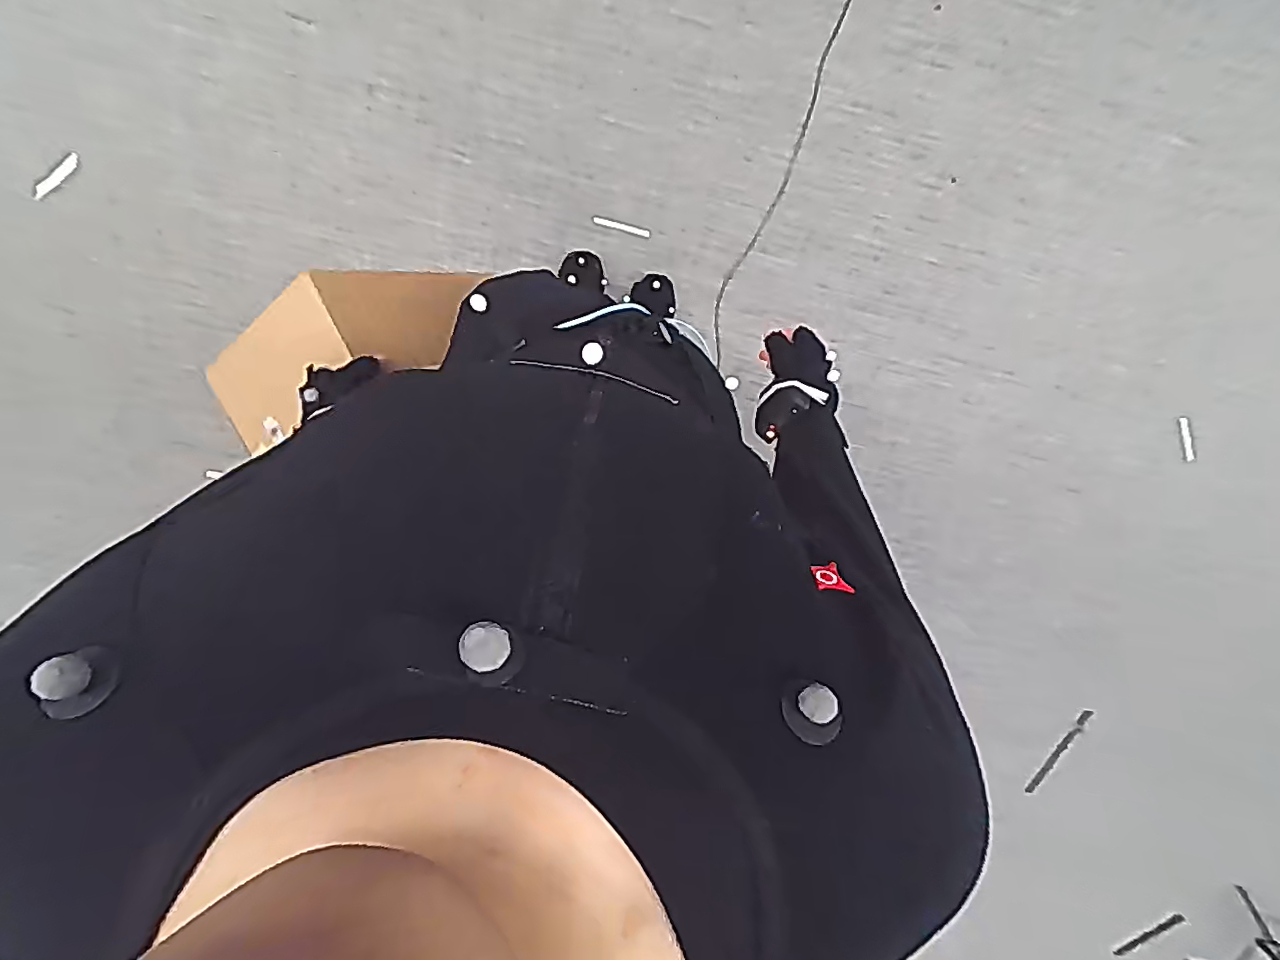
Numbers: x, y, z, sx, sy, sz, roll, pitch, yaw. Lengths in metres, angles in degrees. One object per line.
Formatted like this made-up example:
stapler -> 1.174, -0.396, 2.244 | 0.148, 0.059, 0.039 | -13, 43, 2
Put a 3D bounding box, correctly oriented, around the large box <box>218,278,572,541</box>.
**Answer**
large box -> -0.391, -0.137, 0.946 | 0.320, 0.408, 0.320 | -17, 100, 28
